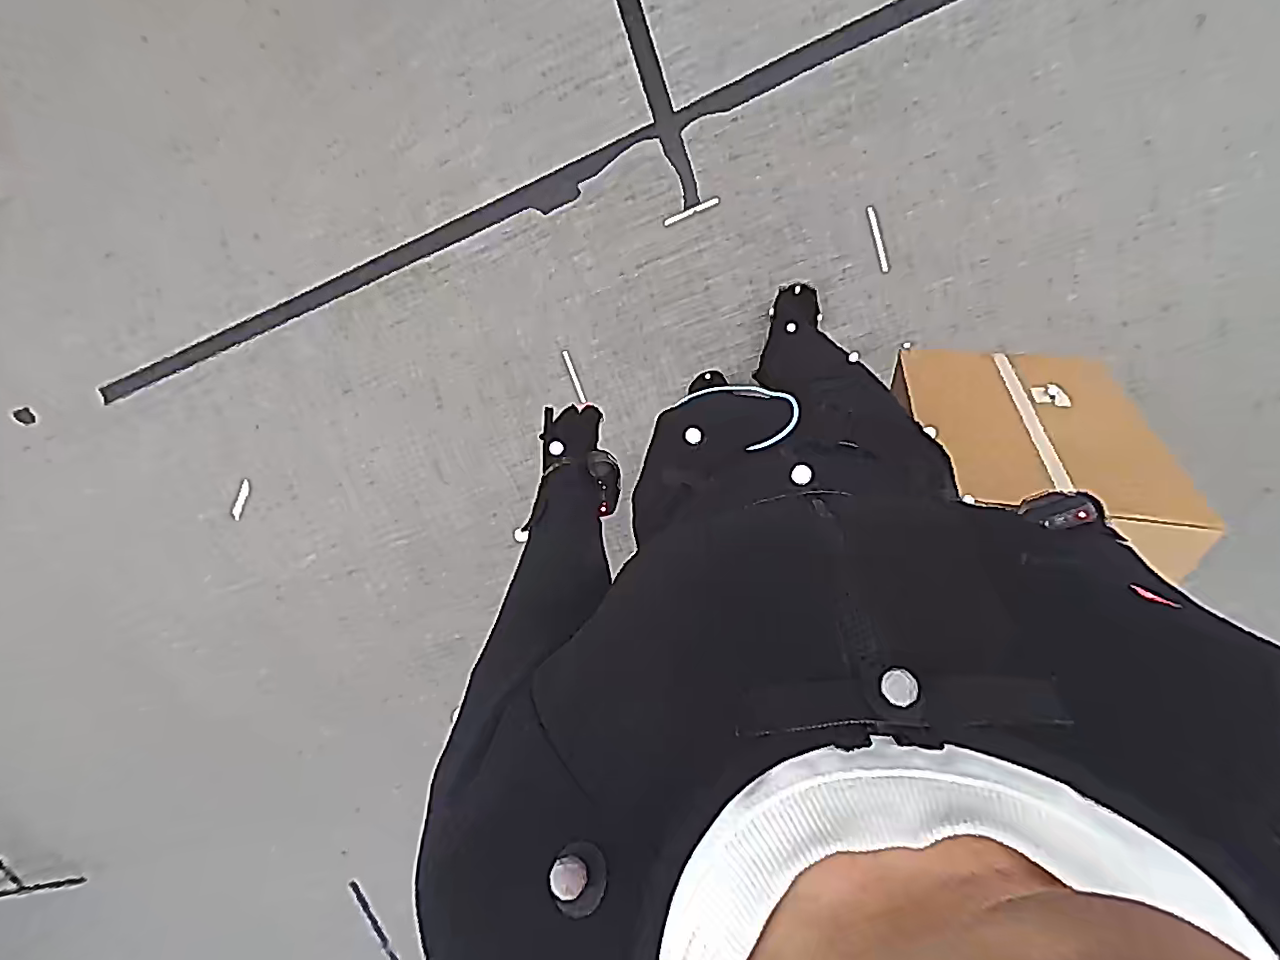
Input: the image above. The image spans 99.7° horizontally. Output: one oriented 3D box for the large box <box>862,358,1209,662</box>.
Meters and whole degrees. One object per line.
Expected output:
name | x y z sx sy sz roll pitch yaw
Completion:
large box | 0.577 0.032 0.907 0.320 0.408 0.320 7 130 11
